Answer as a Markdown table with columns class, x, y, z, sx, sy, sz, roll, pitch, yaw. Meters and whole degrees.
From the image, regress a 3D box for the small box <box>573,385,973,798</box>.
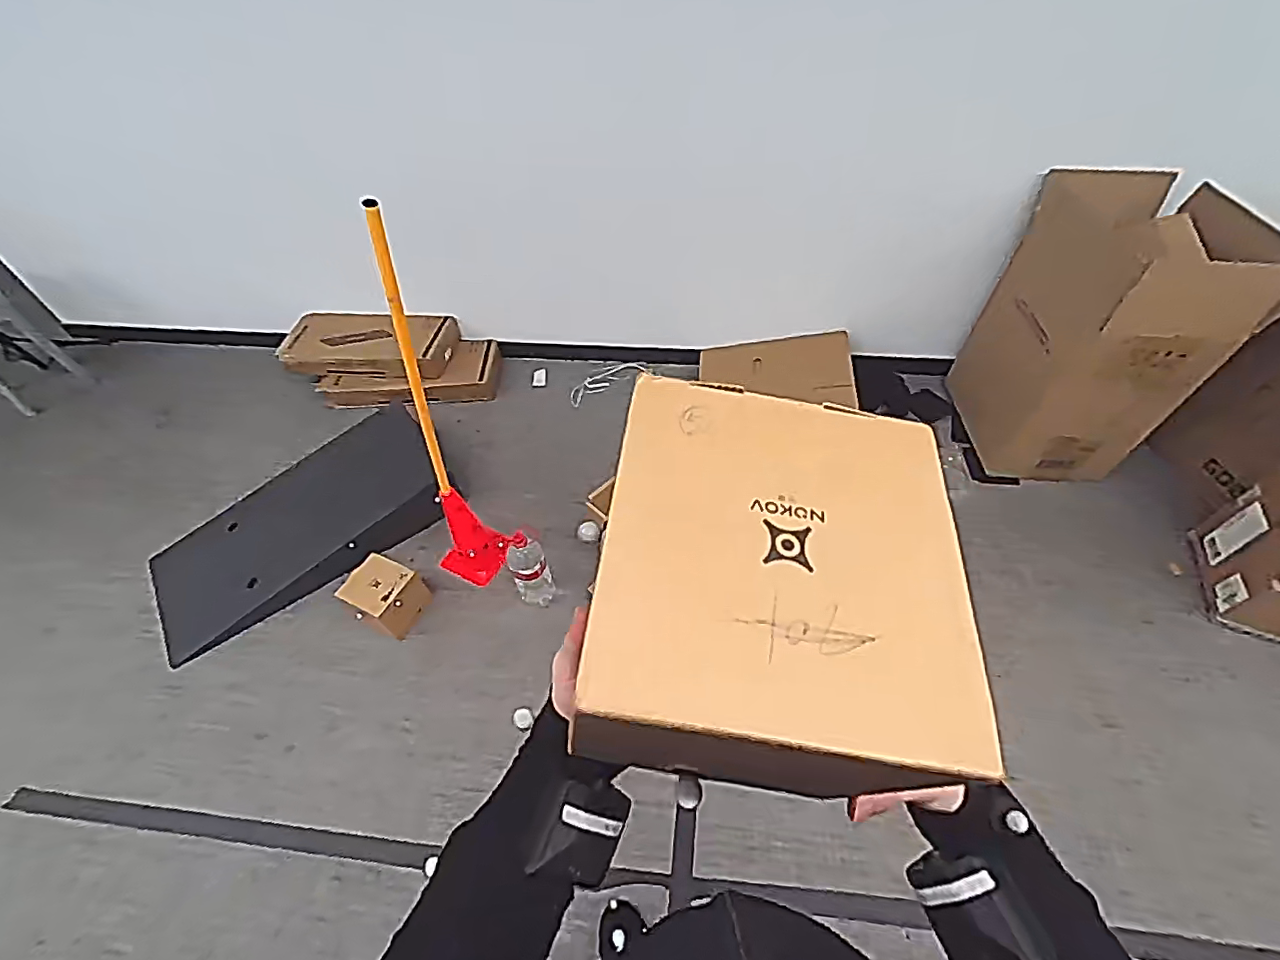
| class | x | y | z | sx | sy | sz | roll | pitch | yaw |
| --- | --- | --- | --- | --- | --- | --- | --- | --- | --- |
| small box | 0.055 | 0.076 | 0.325 | 0.168 | 0.176 | 0.179 | 11 | 57 | -1 |
